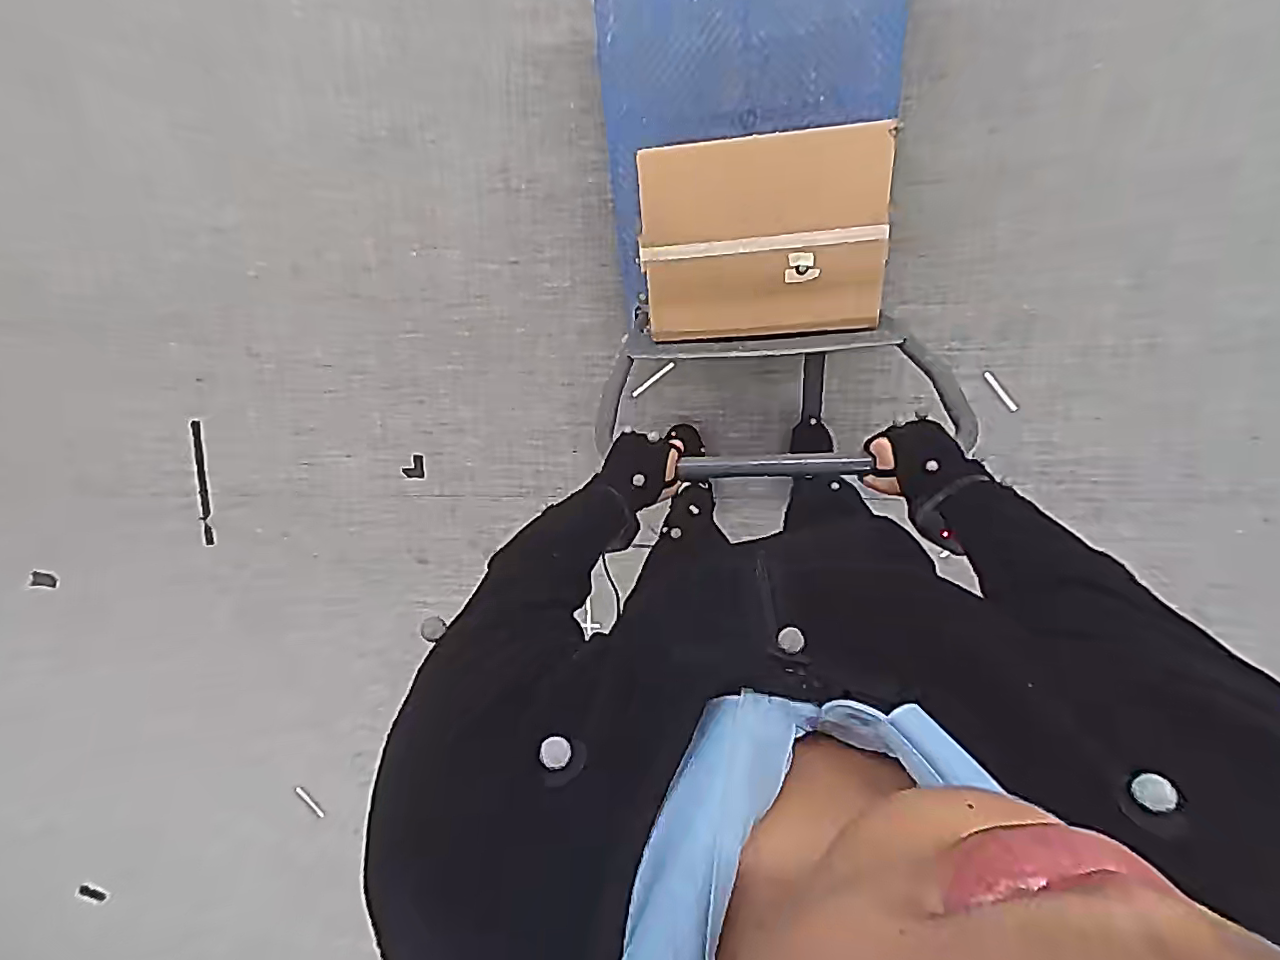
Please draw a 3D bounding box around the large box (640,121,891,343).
[{"bbox_3d":[0.227,-0.474,1.064,0.408,0.320,0.320,-3,117,8],"label":"large box"}]
